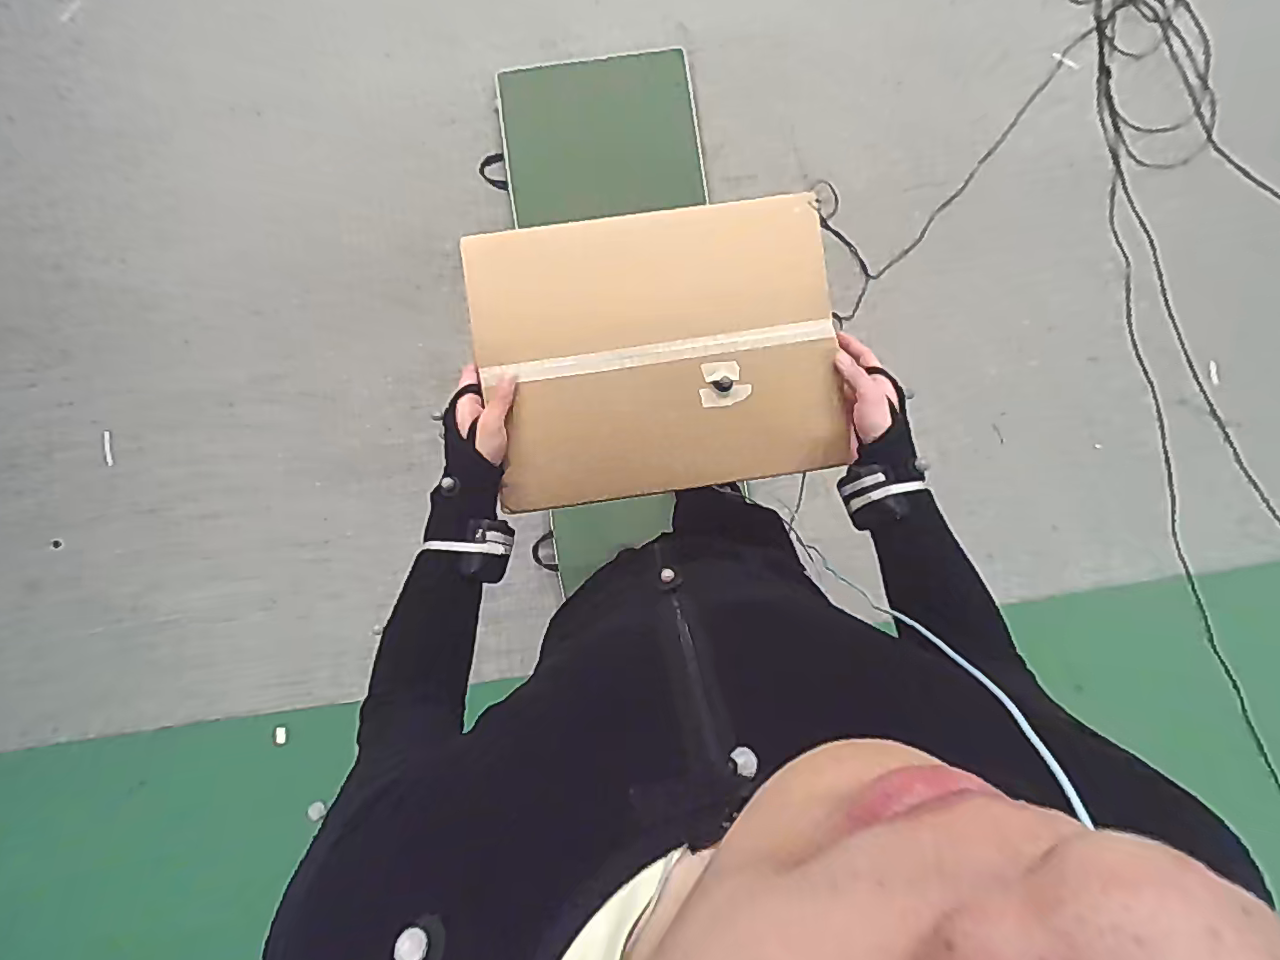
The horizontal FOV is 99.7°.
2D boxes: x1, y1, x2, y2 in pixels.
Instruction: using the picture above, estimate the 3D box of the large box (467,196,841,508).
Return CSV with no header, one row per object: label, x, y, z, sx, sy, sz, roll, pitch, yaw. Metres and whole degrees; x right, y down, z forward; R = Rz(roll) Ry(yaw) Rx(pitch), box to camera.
large box,0.013,-0.151,0.774,0.408,0.320,0.320,-9,92,-2
